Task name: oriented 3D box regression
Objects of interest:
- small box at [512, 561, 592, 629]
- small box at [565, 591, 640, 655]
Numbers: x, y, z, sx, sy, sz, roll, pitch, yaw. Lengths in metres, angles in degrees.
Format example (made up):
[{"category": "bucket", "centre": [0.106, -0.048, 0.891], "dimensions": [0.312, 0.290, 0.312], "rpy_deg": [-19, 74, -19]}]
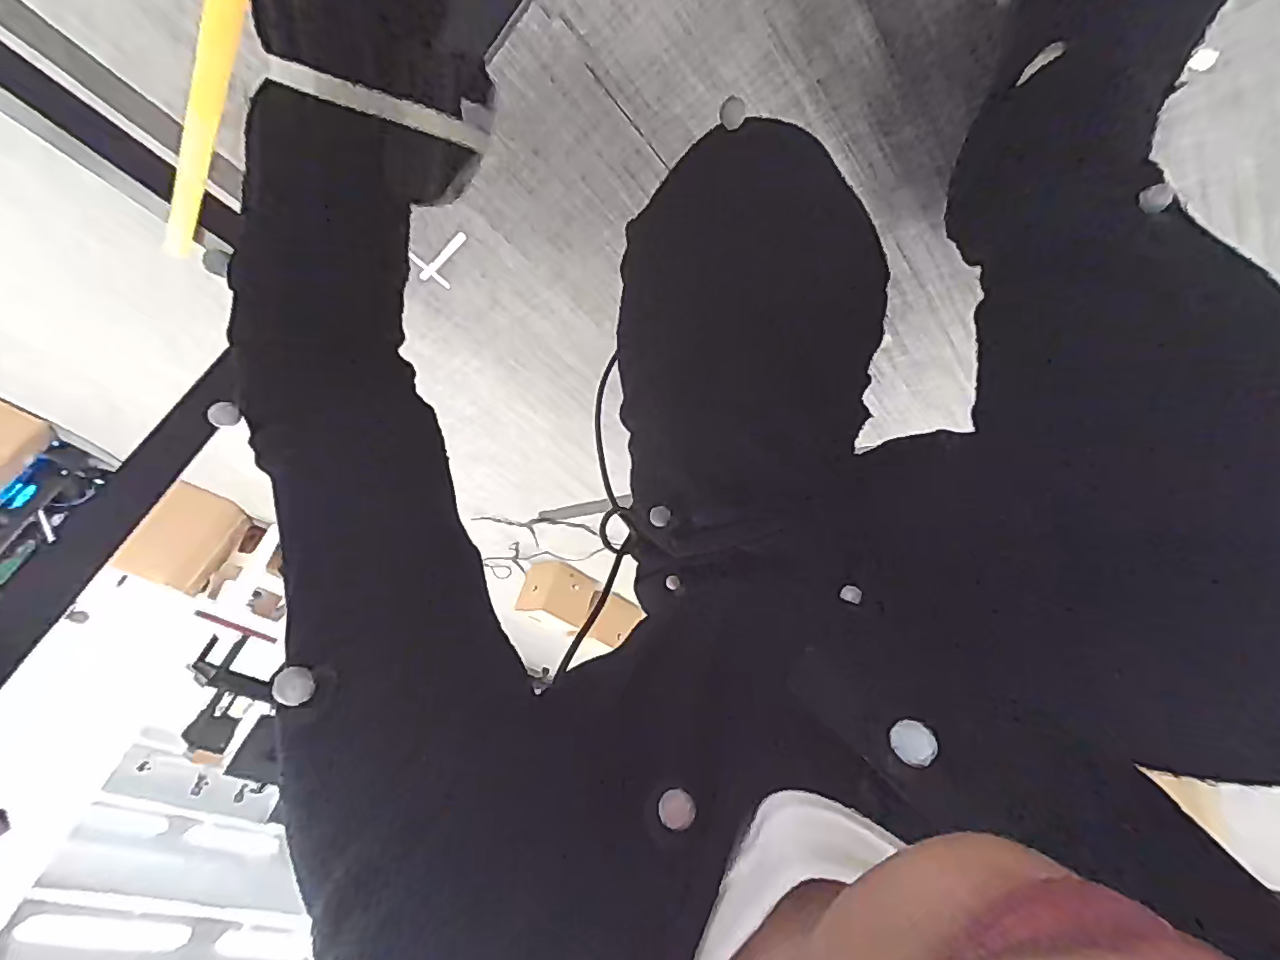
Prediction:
[{"category": "small box", "centre": [-0.285, 0.381, 1.791], "dimensions": [0.168, 0.176, 0.179], "rpy_deg": [37, 146, -31]}, {"category": "small box", "centre": [-0.127, 0.502, 1.910], "dimensions": [0.168, 0.176, 0.179], "rpy_deg": [-13, 139, 44]}]
